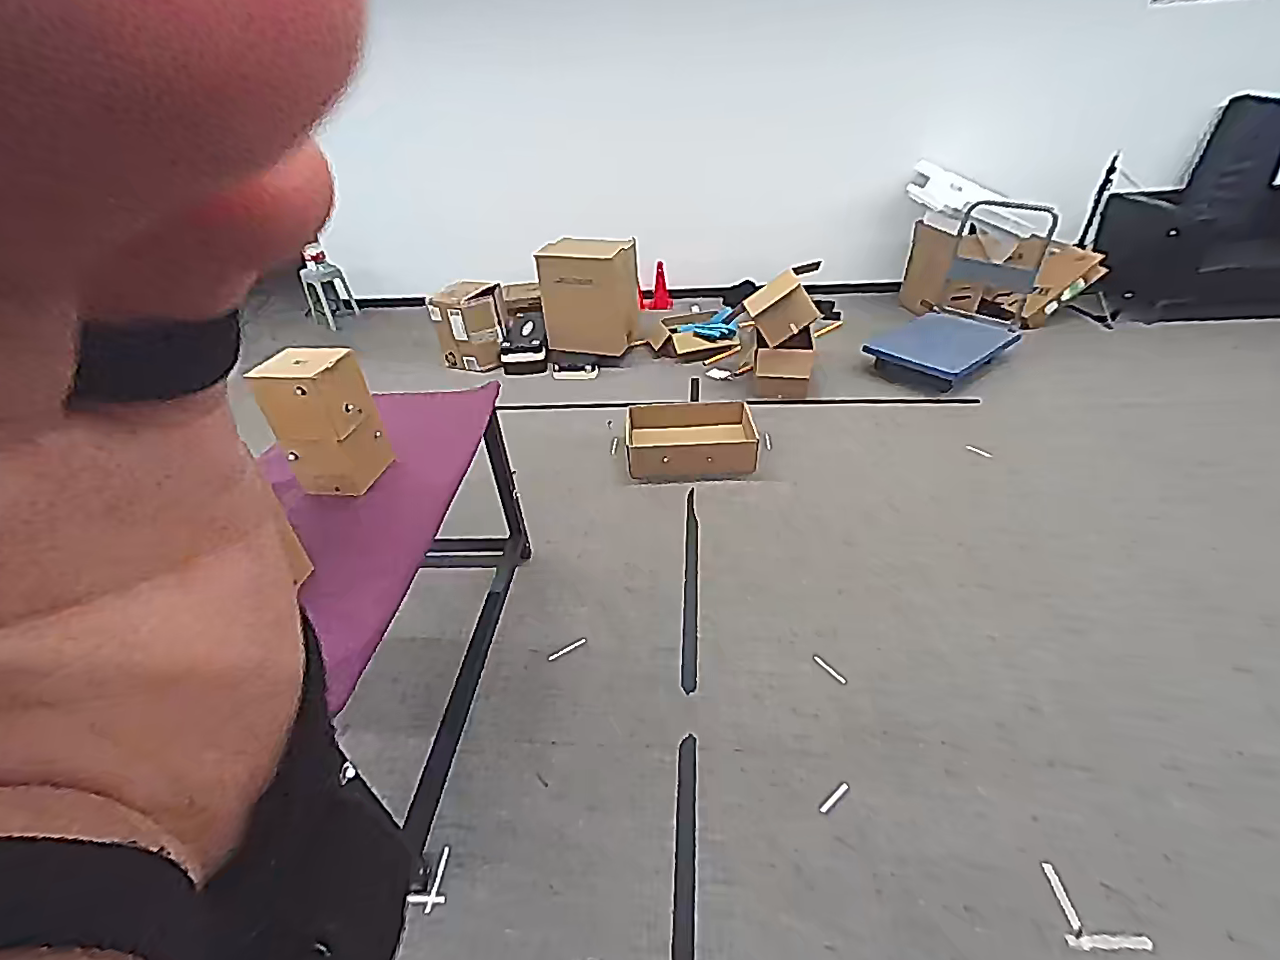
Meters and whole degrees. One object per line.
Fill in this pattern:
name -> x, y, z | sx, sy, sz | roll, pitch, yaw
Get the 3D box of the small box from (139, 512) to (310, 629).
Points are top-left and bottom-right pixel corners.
small box -> -0.798, 0.178, 1.065 | 0.179, 0.176, 0.168 | 0, 36, 5

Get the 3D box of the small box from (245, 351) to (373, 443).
small box -> -0.787, -0.200, 1.307 | 0.179, 0.176, 0.168 | 1, 36, 7
